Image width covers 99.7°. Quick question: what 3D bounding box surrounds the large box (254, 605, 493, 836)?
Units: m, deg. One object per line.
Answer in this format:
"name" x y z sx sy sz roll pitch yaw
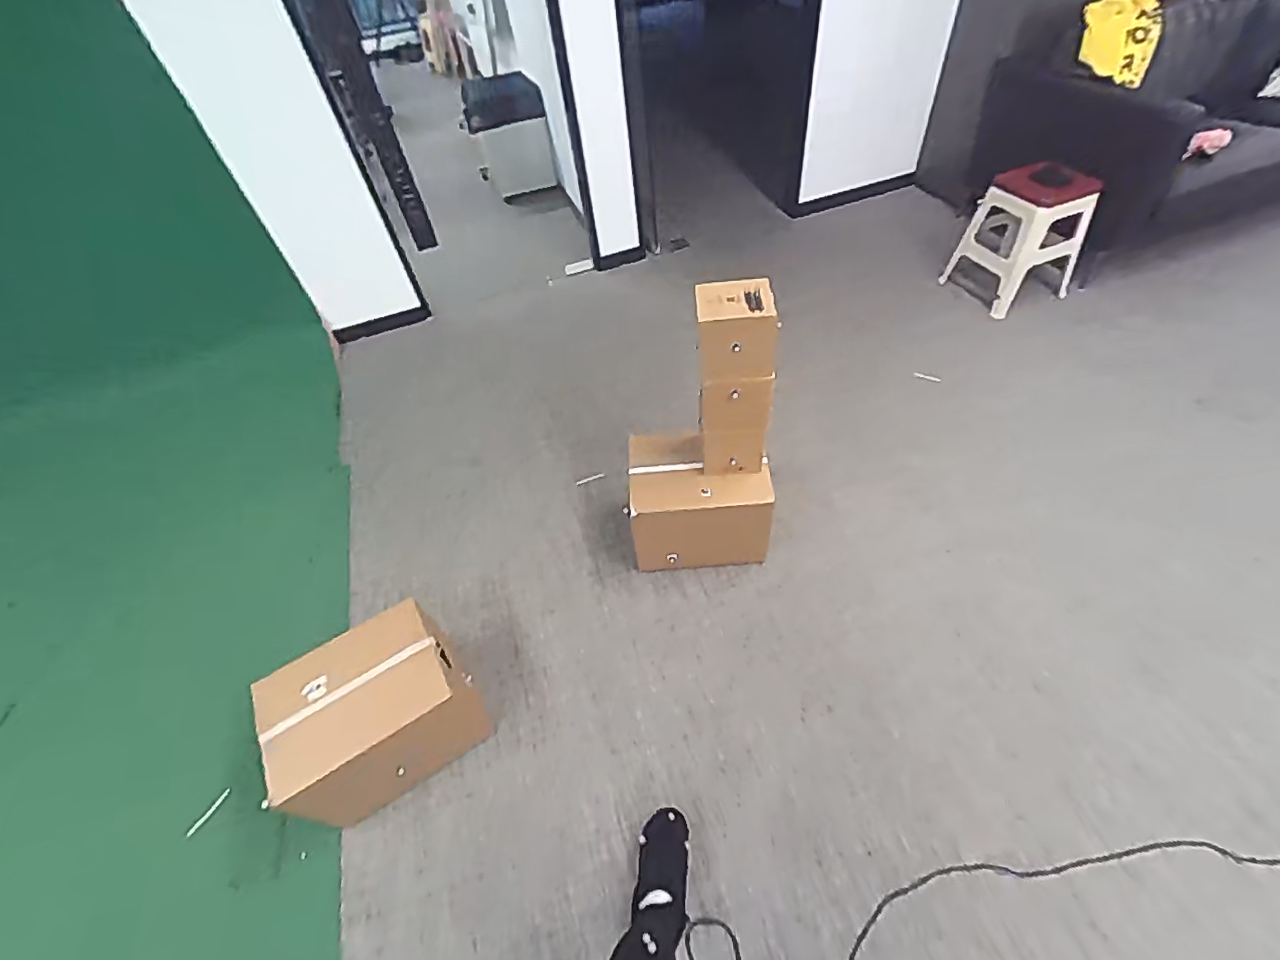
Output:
"large box" -0.648 0.599 1.355 0.408 0.320 0.320 -30 51 -16

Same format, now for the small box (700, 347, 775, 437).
"small box" 0.248 -0.227 1.419 0.179 0.176 0.168 -3 47 5

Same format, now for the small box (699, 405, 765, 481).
"small box" 0.255 -0.117 1.538 0.168 0.176 0.179 -4 47 4
